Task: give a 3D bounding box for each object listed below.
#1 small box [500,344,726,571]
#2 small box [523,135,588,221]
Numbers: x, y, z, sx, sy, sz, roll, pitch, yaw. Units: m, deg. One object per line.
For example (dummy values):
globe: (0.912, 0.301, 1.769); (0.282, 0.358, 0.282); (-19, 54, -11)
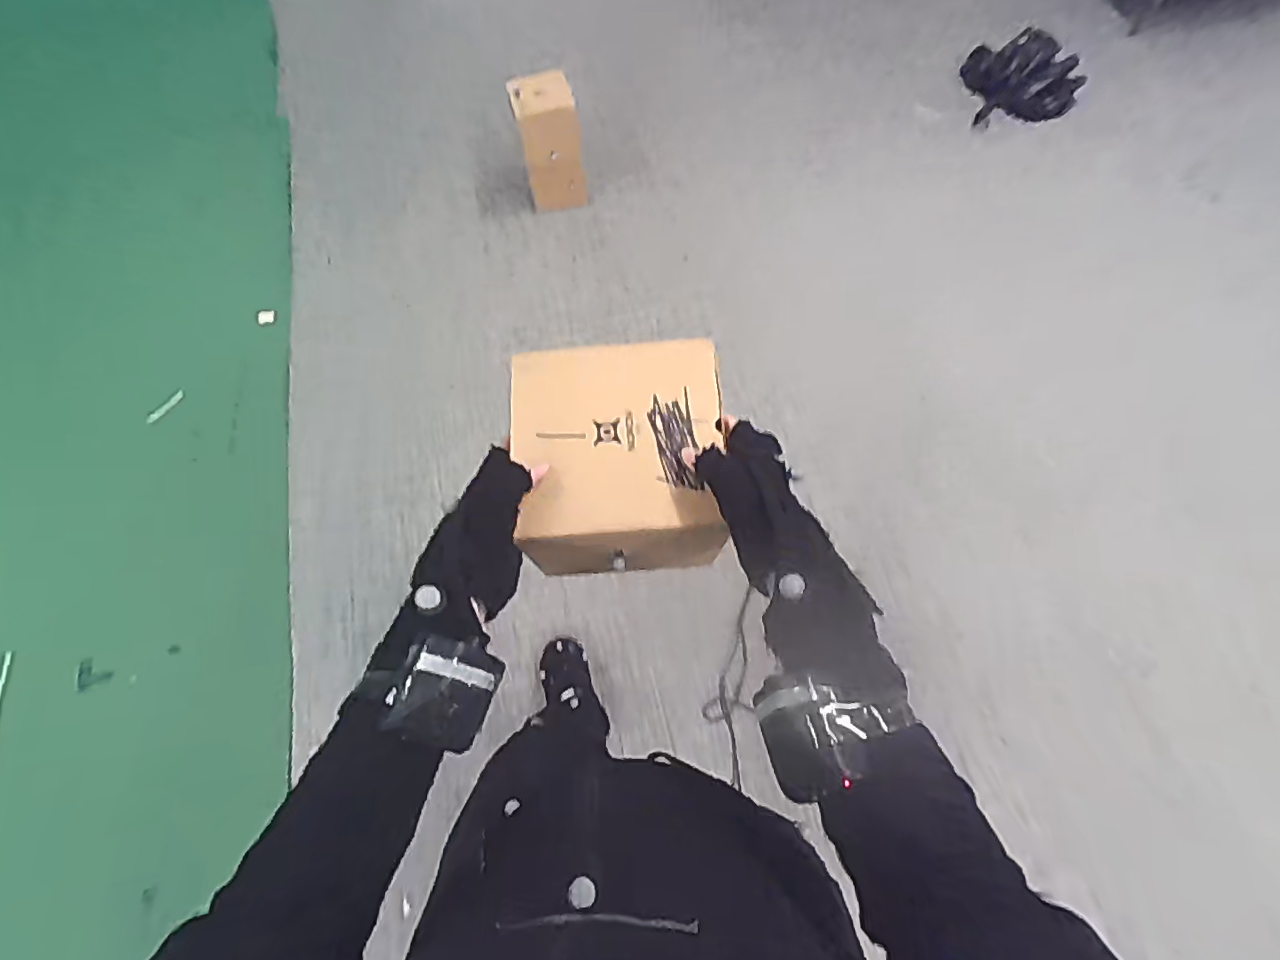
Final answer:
small box: (-0.021, -0.012, 0.516); (0.179, 0.176, 0.168); (-1, 68, 1)
small box: (-0.274, -0.996, 1.791); (0.179, 0.176, 0.168); (-15, 67, -4)
